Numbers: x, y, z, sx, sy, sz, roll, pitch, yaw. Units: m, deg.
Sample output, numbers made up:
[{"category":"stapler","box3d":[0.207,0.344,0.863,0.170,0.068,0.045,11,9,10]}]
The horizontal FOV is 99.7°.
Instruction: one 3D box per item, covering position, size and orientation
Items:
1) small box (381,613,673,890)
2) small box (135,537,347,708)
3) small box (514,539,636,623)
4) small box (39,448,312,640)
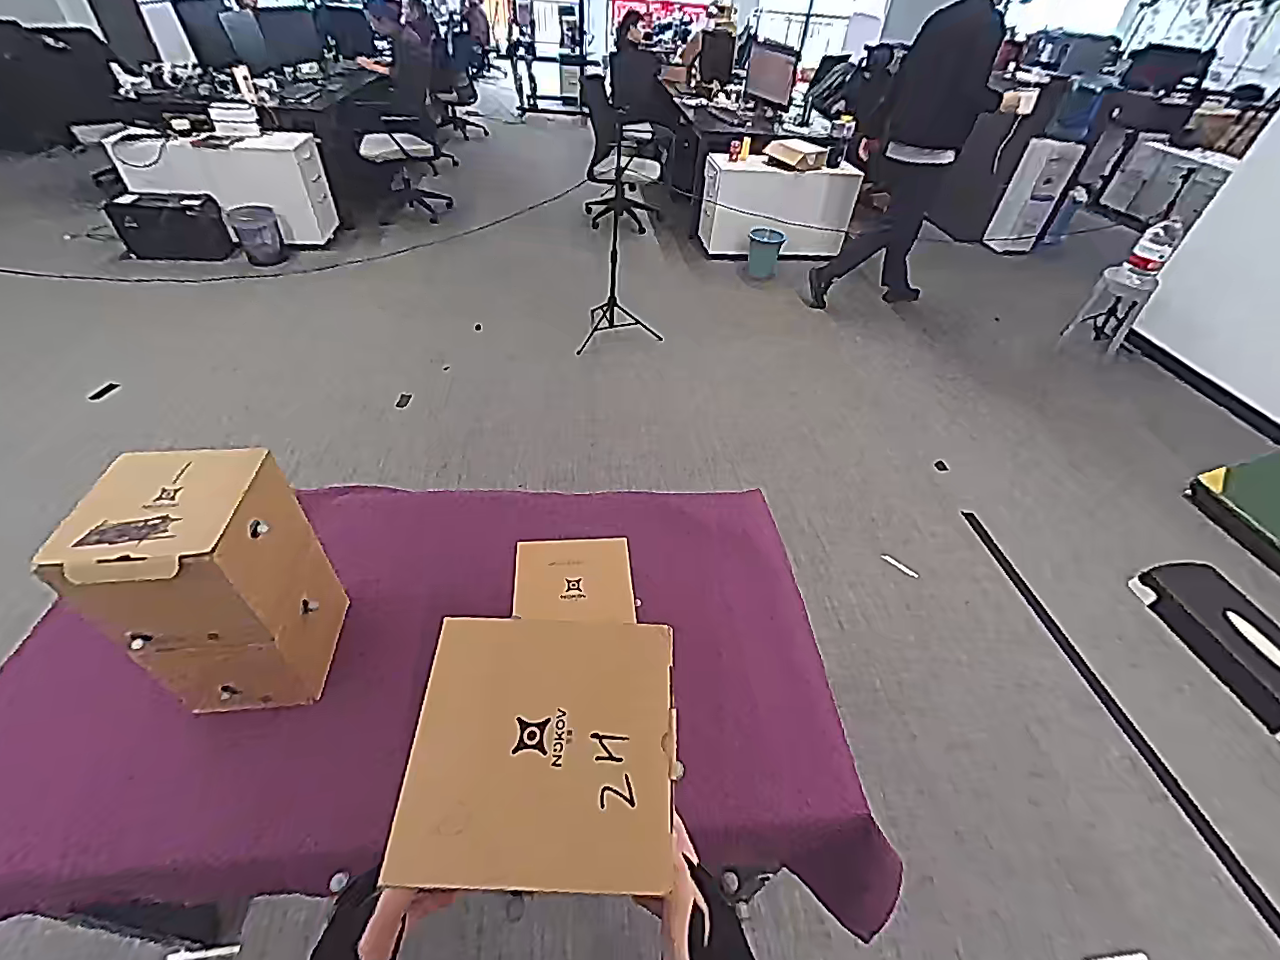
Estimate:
[{"category":"small box","box3d":[-0.067,0.219,0.430,0.179,0.176,0.168,3,54,0]},{"category":"small box","box3d":[-0.543,0.201,0.772,0.168,0.176,0.179,-1,45,-8]},{"category":"small box","box3d":[-0.095,0.210,0.806,0.168,0.176,0.179,-1,43,-7]},{"category":"small box","box3d":[-0.532,0.081,0.659,0.168,0.176,0.179,-2,44,-9]}]
